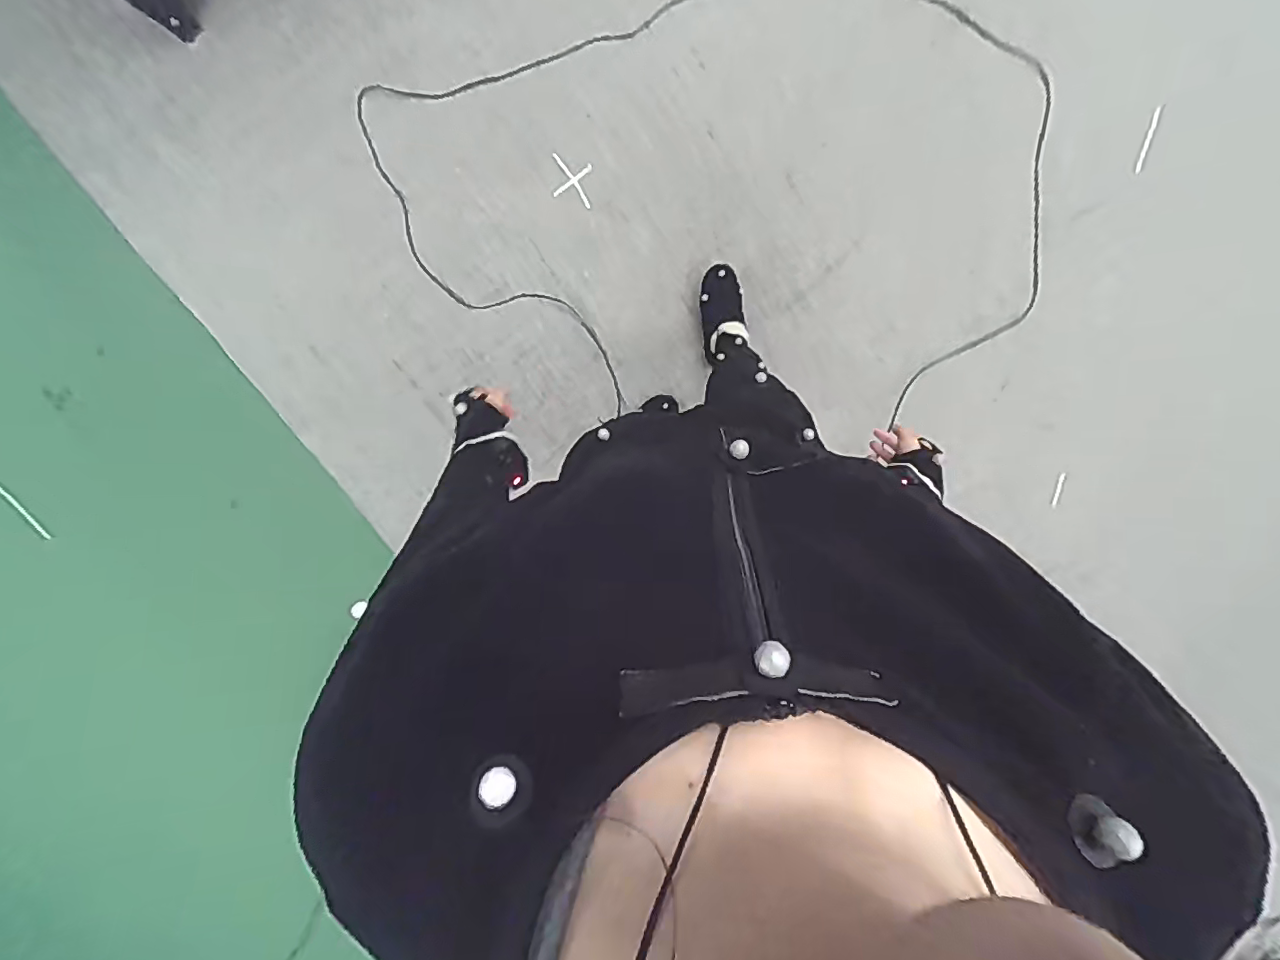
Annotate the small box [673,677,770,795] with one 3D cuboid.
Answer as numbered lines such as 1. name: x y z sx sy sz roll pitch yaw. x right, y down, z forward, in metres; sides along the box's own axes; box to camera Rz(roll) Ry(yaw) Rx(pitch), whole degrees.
1. small box: 0.200 0.641 1.372 0.168 0.176 0.179 -38 100 7

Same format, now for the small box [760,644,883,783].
1. small box: 0.378 0.497 1.171 0.168 0.176 0.179 40 101 -8
